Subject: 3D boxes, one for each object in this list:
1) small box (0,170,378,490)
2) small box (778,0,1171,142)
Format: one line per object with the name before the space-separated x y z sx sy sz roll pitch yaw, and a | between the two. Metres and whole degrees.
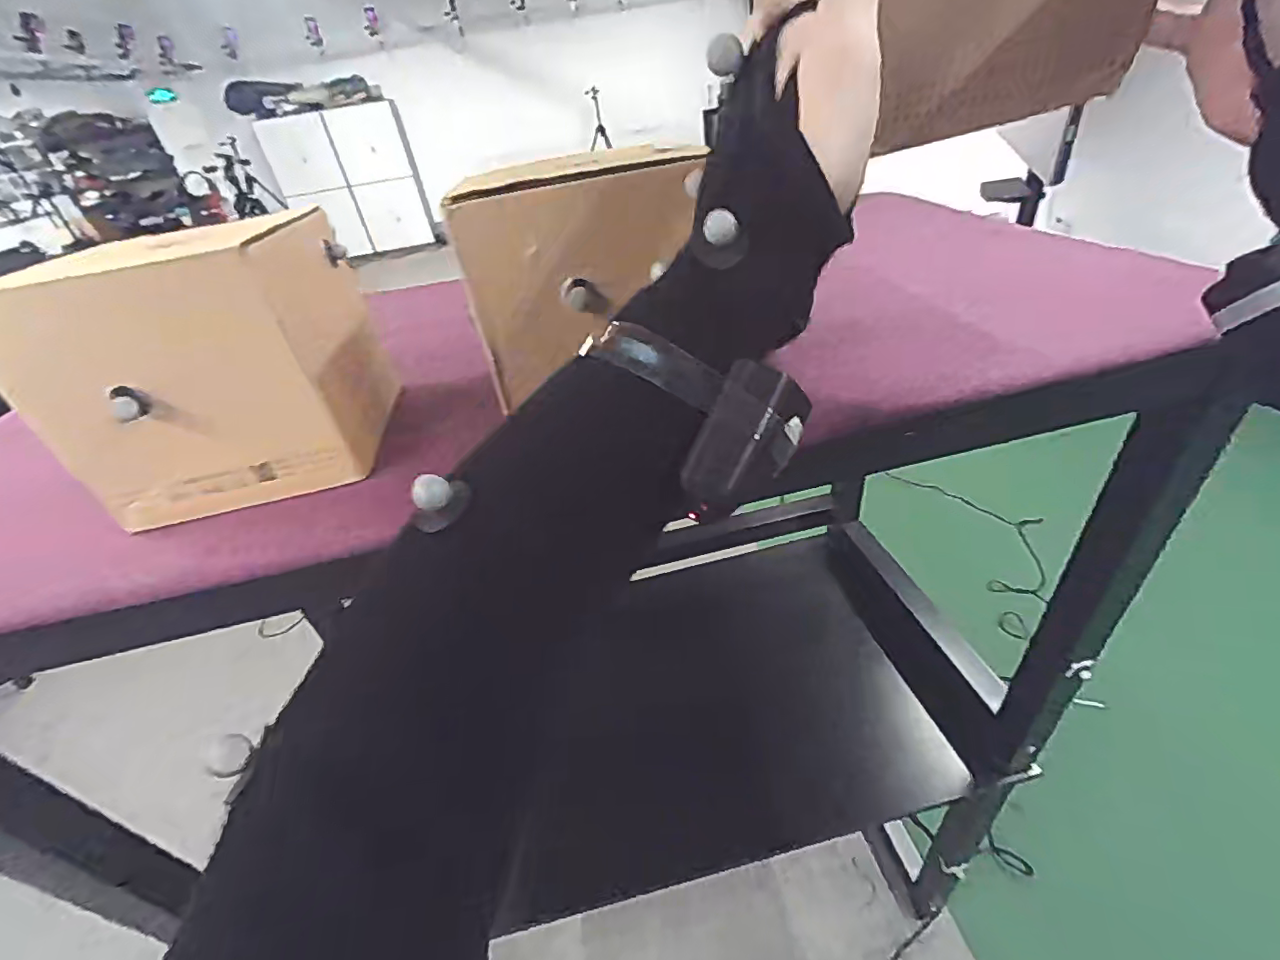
small box | -0.314 -0.107 0.390 0.168 0.176 0.179 -12 35 -5
small box | 0.176 -0.311 0.293 0.179 0.176 0.168 -10 50 5
